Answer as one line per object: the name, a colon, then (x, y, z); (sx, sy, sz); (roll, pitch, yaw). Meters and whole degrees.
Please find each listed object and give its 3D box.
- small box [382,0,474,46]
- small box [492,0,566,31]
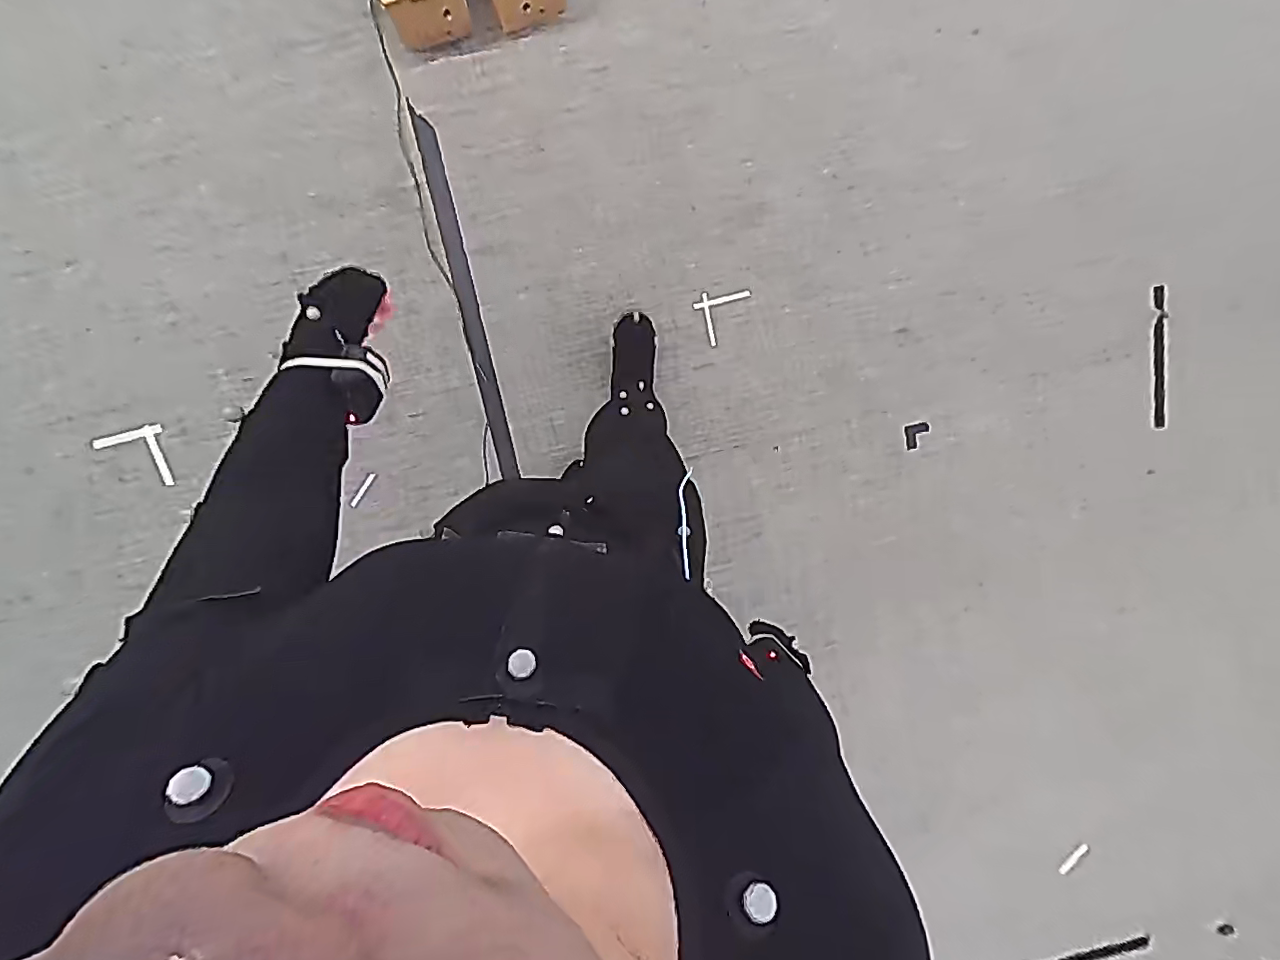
small box: (-0.479, -1.092, 1.176); (0.168, 0.176, 0.179); (-18, 100, -1)
small box: (-0.269, -1.148, 1.181); (0.168, 0.176, 0.179); (-21, 101, 0)
